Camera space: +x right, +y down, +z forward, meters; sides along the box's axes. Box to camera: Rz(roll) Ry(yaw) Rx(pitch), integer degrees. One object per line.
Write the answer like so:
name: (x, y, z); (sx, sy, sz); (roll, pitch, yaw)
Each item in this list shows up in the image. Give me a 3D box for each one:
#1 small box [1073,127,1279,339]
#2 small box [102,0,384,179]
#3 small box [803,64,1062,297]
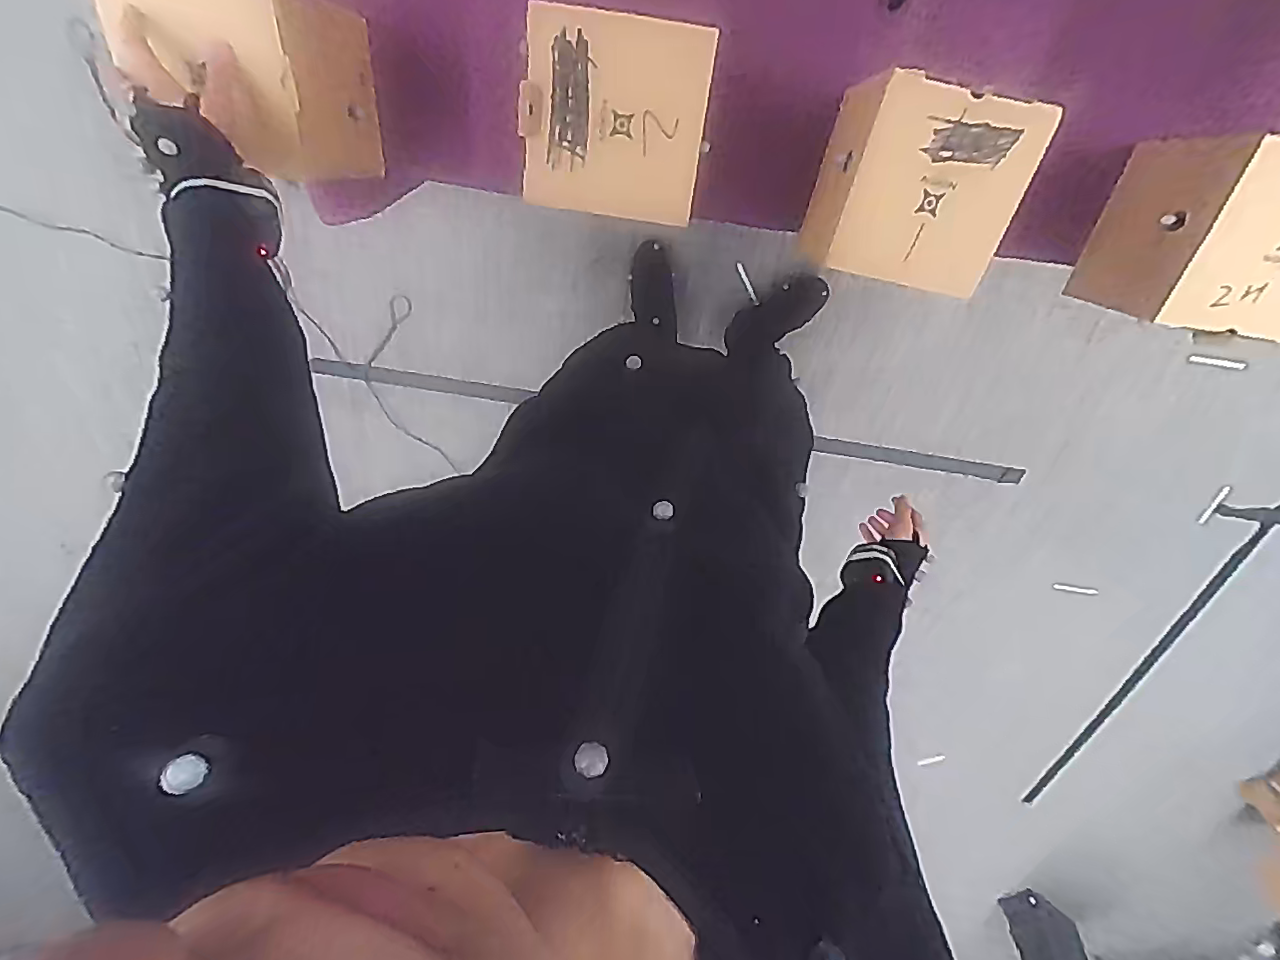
small box: (0.642, -0.272, 0.601); (0.168, 0.176, 0.179); (9, 120, 1)
small box: (-0.414, -0.432, 0.594); (0.179, 0.176, 0.168); (6, 120, 0)
small box: (0.296, -0.325, 0.600); (0.168, 0.176, 0.179); (12, 121, -2)
